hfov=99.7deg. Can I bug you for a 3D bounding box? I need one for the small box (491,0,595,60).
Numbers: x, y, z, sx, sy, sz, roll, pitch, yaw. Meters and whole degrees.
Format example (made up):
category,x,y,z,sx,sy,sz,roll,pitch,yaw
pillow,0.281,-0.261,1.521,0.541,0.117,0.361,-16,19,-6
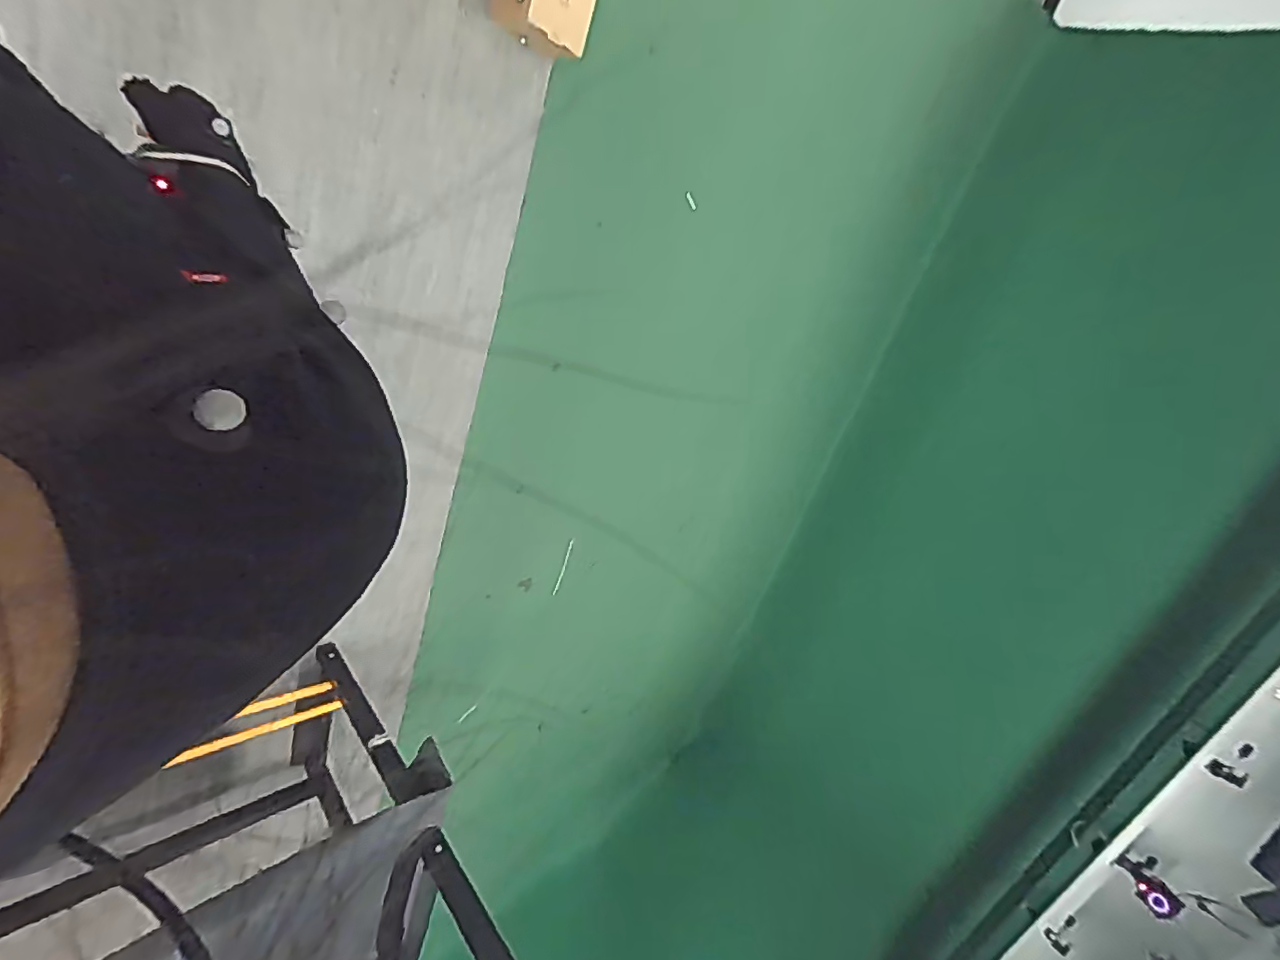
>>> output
category,x,y,z,sx,sy,sz,roll,pitch,yaw
small box,-0.228,-1.130,1.268,0.168,0.176,0.179,-5,121,-48
